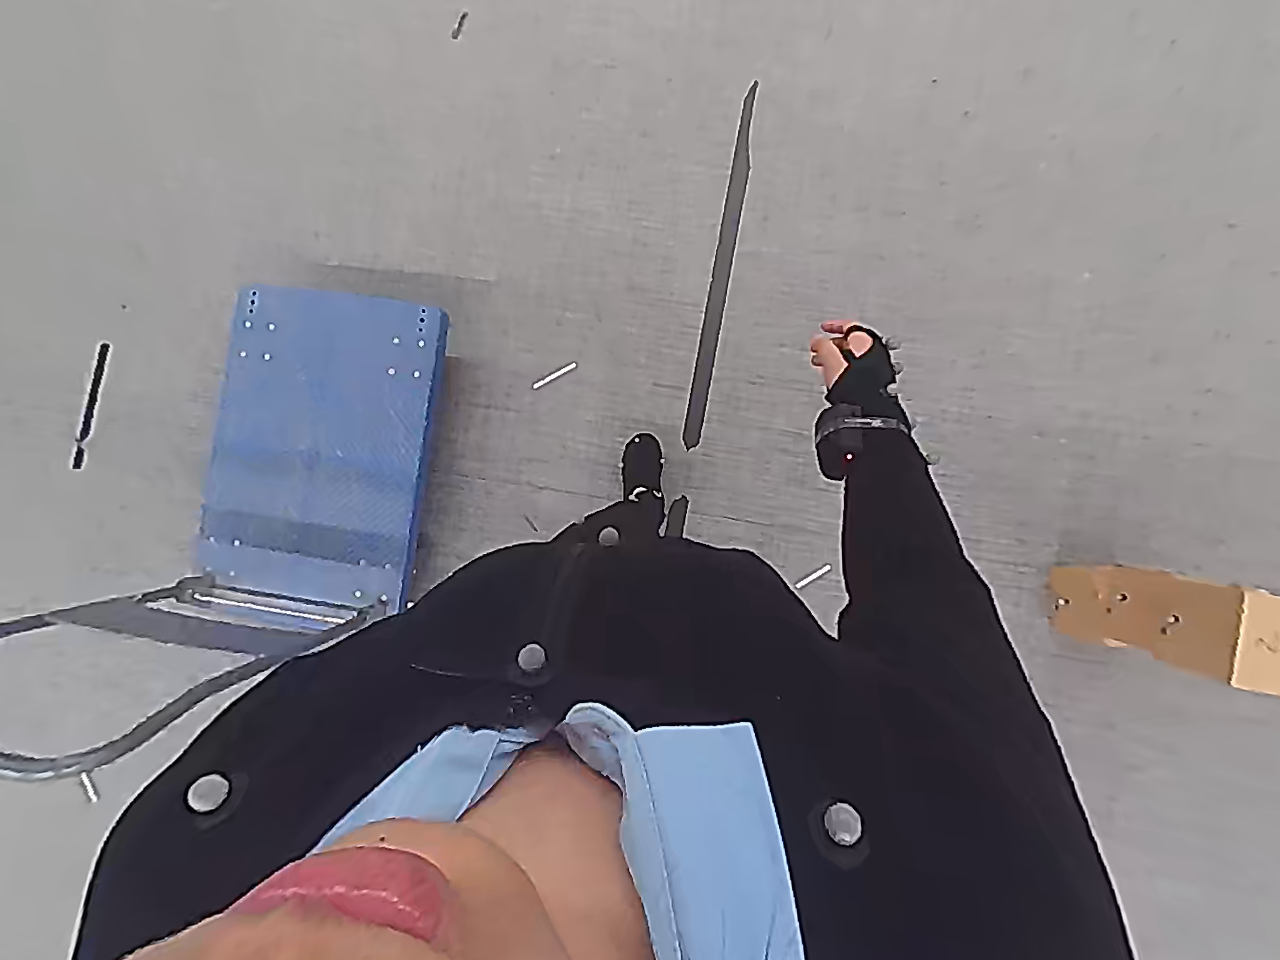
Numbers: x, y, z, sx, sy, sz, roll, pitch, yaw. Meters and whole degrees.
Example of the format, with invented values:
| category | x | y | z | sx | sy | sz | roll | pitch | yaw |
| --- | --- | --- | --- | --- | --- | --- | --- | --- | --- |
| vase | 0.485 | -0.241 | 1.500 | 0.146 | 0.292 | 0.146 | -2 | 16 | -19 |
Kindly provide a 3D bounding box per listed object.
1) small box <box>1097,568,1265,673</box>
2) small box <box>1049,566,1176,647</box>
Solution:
| category | x | y | z | sx | sy | sz | roll | pitch | yaw |
| --- | --- | --- | --- | --- | --- | --- | --- | --- | --- |
| small box | 1.130 | 0.286 | 1.141 | 0.179 | 0.176 | 0.168 | 10 | 88 | 6 |
| small box | 1.137 | 0.300 | 1.303 | 0.179 | 0.176 | 0.168 | -3 | 86 | 5 |
